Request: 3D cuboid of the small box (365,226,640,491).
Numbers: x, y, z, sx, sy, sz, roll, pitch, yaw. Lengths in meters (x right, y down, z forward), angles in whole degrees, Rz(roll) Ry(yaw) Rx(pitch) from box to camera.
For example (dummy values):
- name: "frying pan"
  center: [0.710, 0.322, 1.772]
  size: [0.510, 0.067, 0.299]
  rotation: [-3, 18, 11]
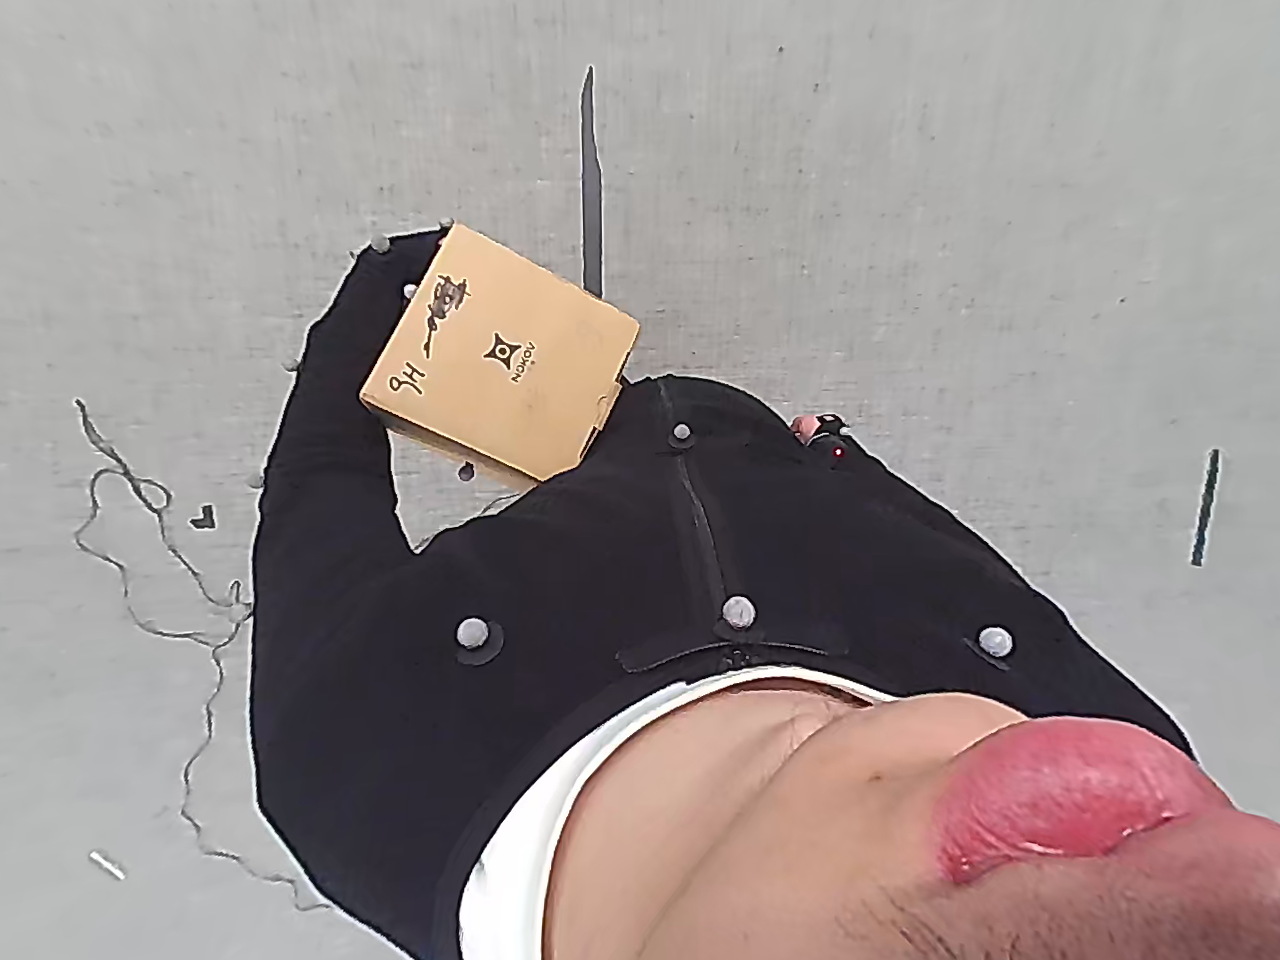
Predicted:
- name: "small box"
  center: [-0.129, -0.097, 0.525]
  size: [0.179, 0.176, 0.168]
  rotation: [25, 78, -14]
